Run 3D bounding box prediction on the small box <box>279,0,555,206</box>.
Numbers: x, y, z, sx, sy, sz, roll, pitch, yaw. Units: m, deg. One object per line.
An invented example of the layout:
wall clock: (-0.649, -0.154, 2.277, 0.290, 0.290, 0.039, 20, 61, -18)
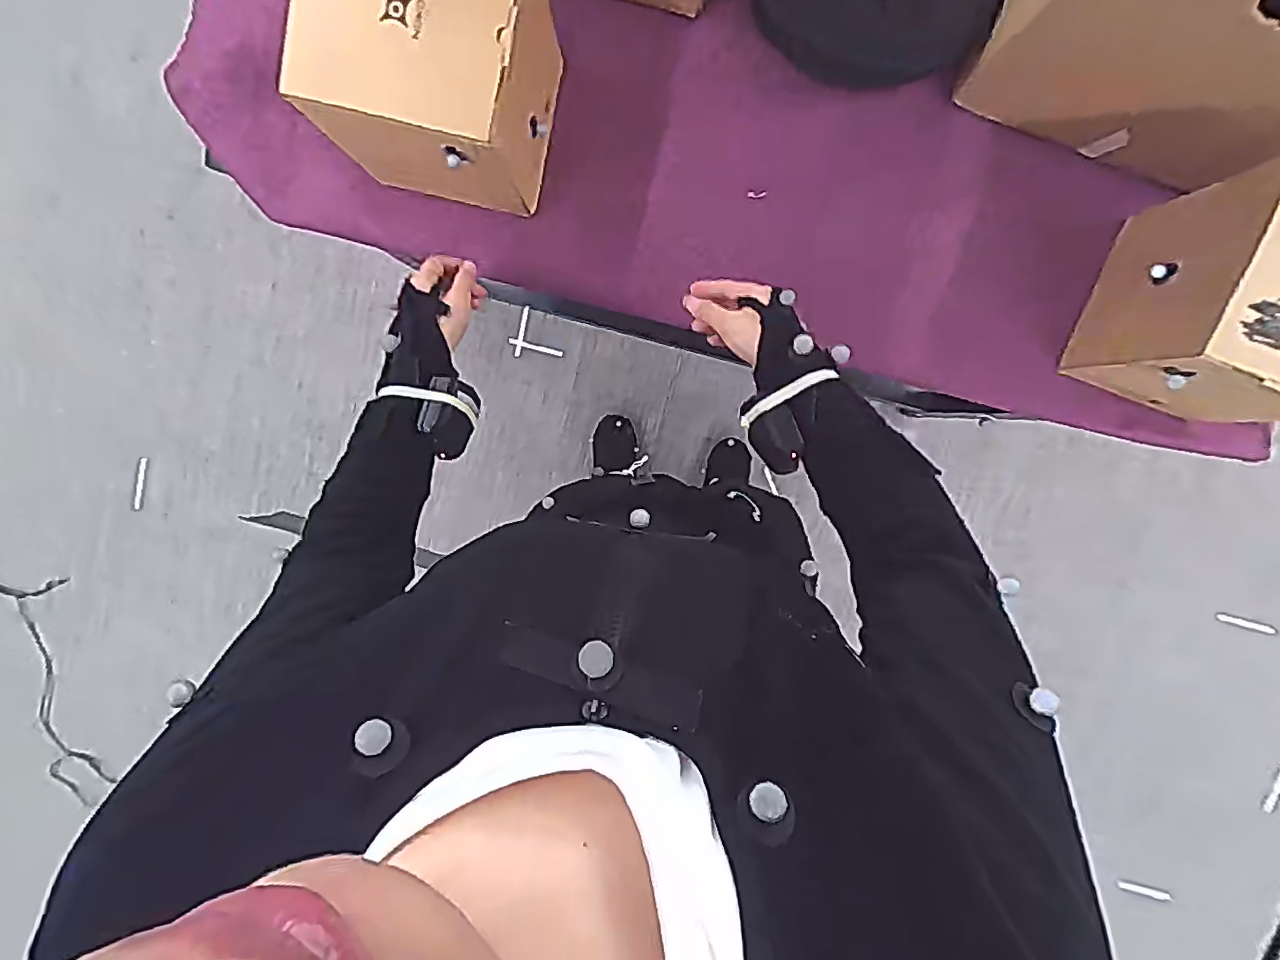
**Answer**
small box: (-0.190, -0.383, 0.507, 0.179, 0.176, 0.168, 12, 97, -2)
